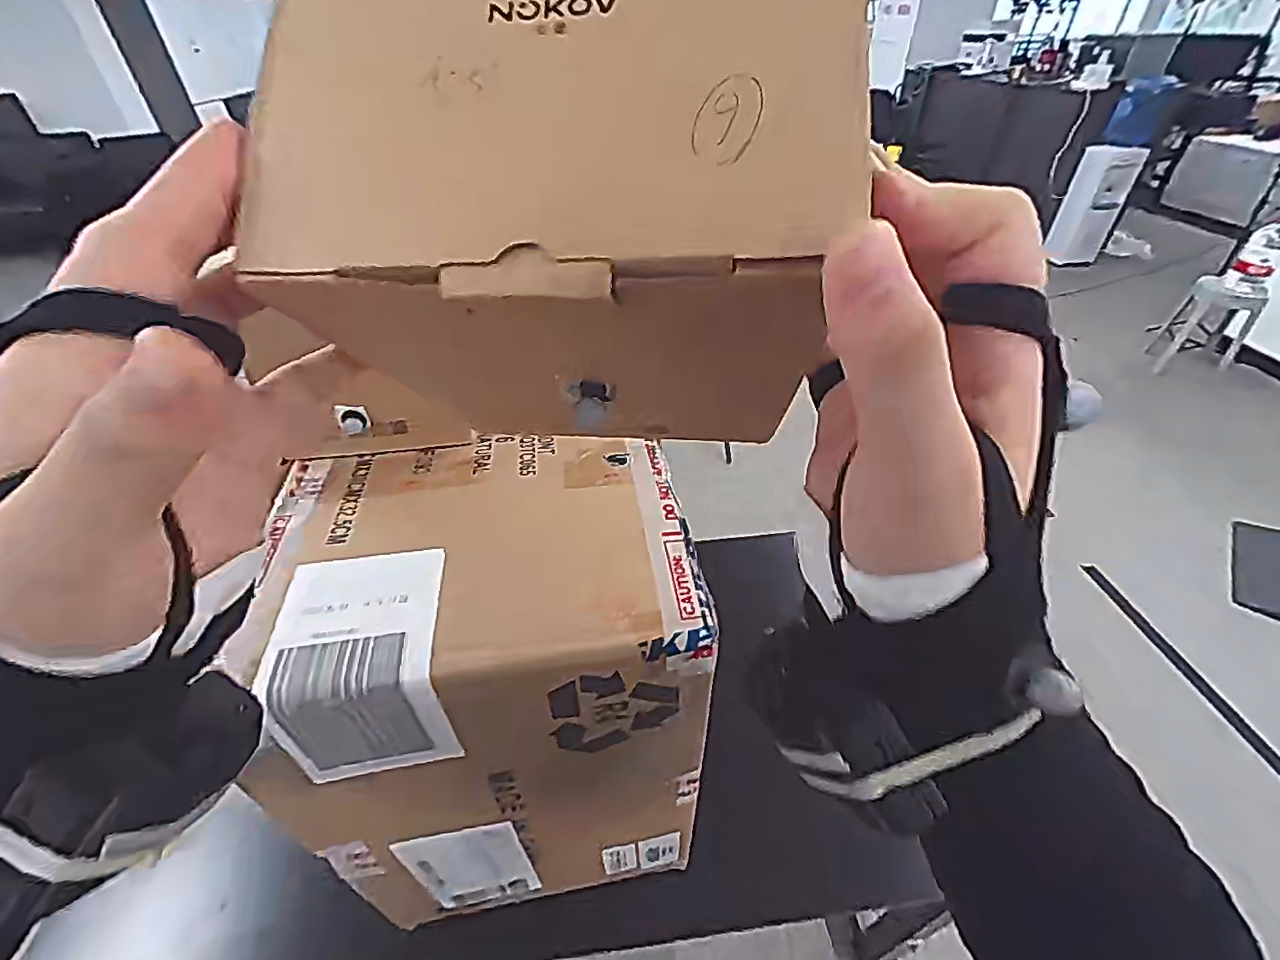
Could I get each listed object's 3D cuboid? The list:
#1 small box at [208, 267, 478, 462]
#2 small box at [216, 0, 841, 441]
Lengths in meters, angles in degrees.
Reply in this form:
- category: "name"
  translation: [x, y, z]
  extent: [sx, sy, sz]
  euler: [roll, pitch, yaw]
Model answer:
- category: "small box"
  translation: [-0.250, -0.137, 0.516]
  extent: [0.168, 0.176, 0.179]
  euler: [-8, 38, -9]
- category: "small box"
  translation: [-0.019, -0.117, 0.225]
  extent: [0.168, 0.176, 0.179]
  euler: [2, 81, 8]
